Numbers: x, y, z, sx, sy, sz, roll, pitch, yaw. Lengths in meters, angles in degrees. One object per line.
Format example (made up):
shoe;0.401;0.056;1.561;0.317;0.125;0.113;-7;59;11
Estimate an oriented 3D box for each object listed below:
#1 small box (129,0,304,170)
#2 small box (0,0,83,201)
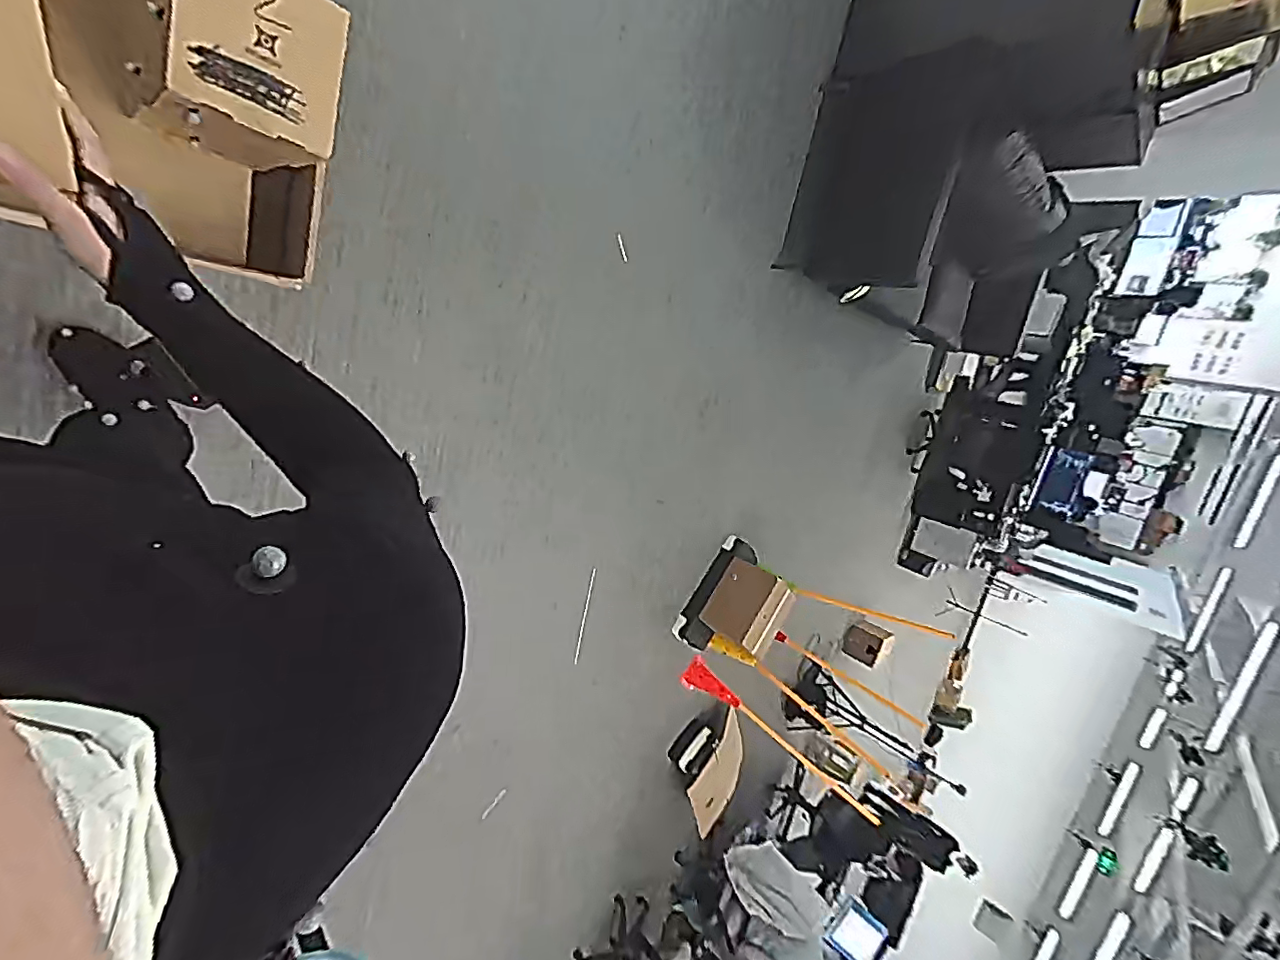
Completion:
small box;-0.612;-0.574;0.779;0.168;0.176;0.179;2;106;-49
small box;-0.559;-0.312;0.399;0.179;0.176;0.168;-16;121;-47
